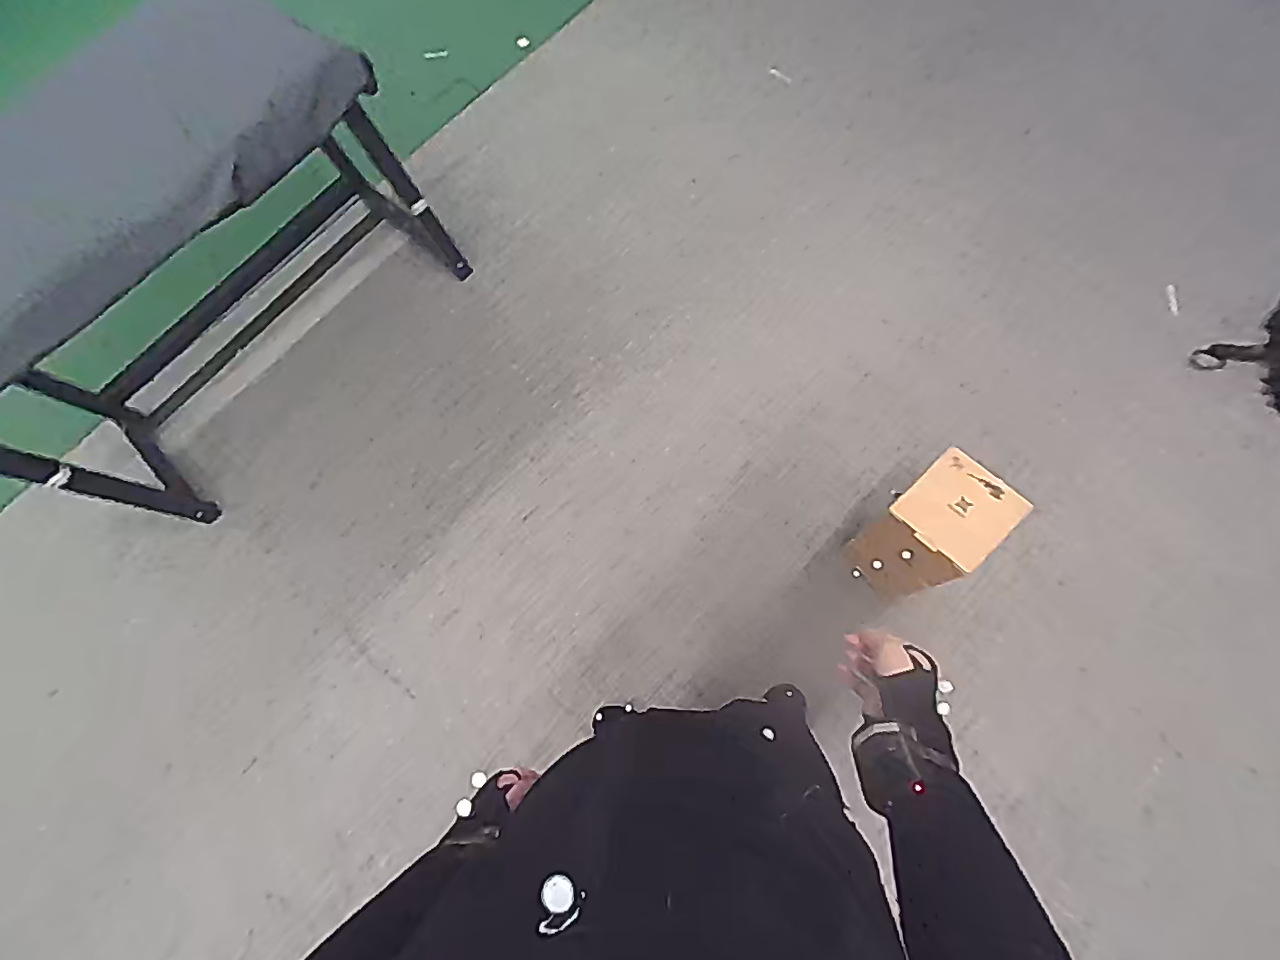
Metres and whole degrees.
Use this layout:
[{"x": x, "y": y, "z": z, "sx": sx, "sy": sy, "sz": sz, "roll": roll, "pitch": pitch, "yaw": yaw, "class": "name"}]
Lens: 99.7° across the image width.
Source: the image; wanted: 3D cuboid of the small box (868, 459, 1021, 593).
[{"x": 0.564, "y": 0.097, "z": 1.036, "sx": 0.179, "sy": 0.176, "sz": 0.168, "roll": -42, "pitch": 71, "yaw": -6, "class": "small box"}]

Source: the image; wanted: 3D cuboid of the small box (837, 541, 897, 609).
[{"x": 0.618, "y": 0.202, "z": 1.341, "sx": 0.179, "sy": 0.176, "sz": 0.168, "roll": -35, "pitch": 70, "yaw": -3, "class": "small box"}]

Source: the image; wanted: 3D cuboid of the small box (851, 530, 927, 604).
[{"x": 0.596, "y": 0.152, "z": 1.185, "sx": 0.179, "sy": 0.176, "sz": 0.168, "roll": -34, "pitch": 70, "yaw": -3, "class": "small box"}]
